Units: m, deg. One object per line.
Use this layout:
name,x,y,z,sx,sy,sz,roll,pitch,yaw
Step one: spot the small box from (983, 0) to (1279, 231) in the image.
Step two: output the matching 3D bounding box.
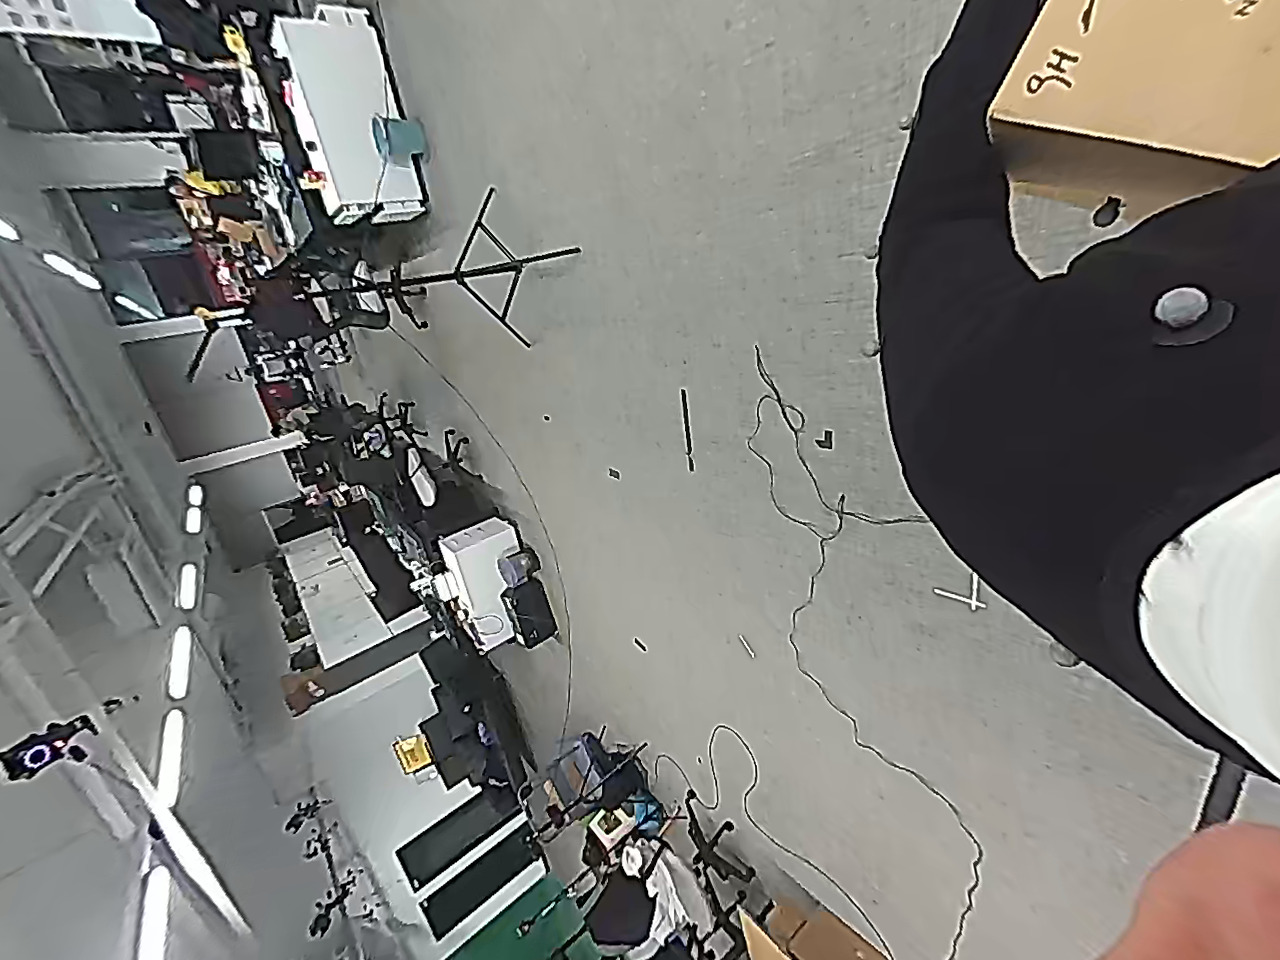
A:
small box,0.370,-0.283,0.360,0.179,0.176,0.168,34,117,27
